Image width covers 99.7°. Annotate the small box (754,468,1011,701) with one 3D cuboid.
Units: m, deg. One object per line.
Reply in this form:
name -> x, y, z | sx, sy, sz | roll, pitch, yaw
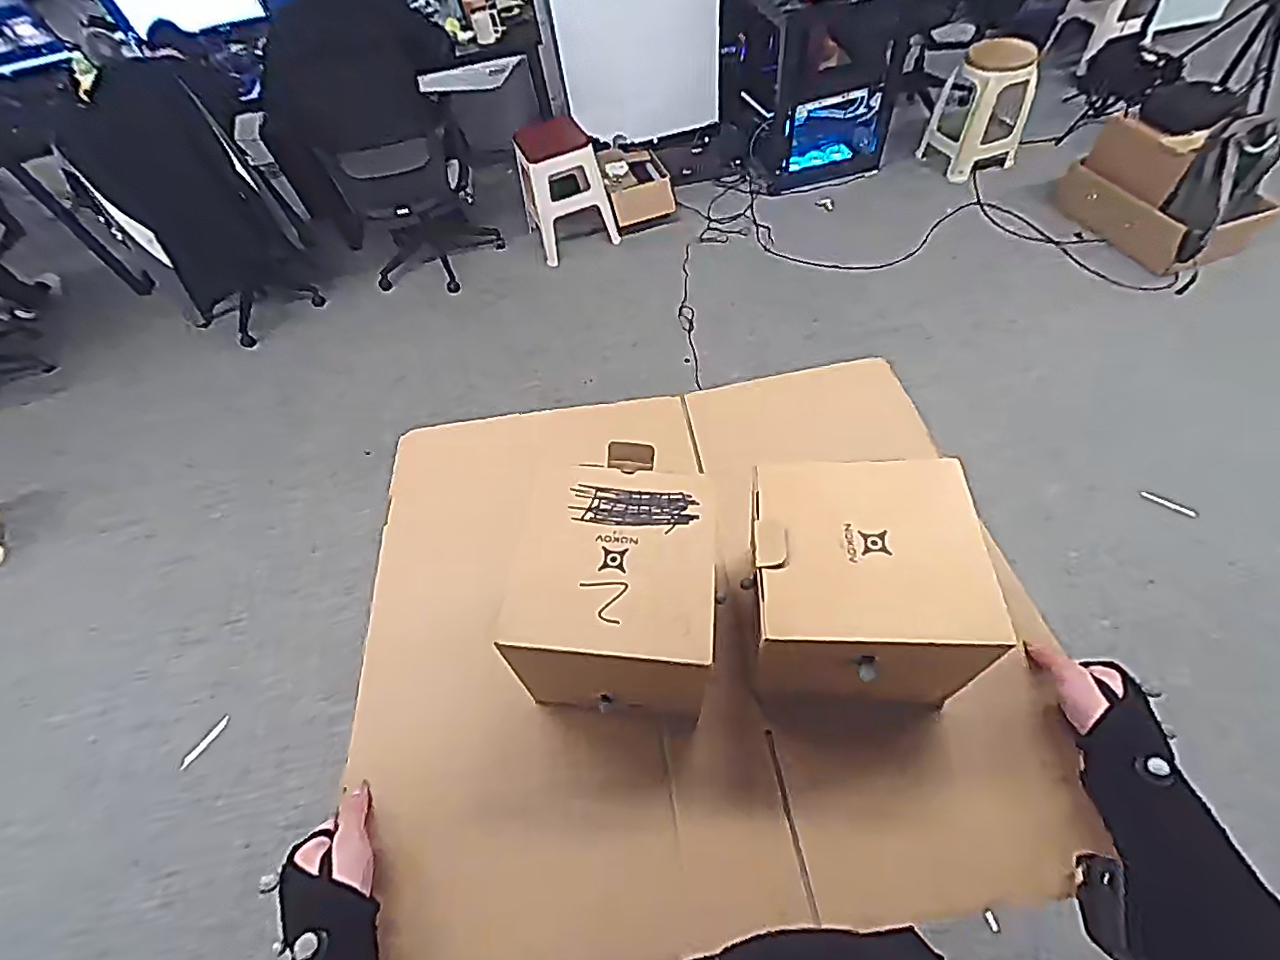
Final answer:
small box -> 0.201, 0.103, 0.511 | 0.179, 0.176, 0.168 | -2, 55, 10
